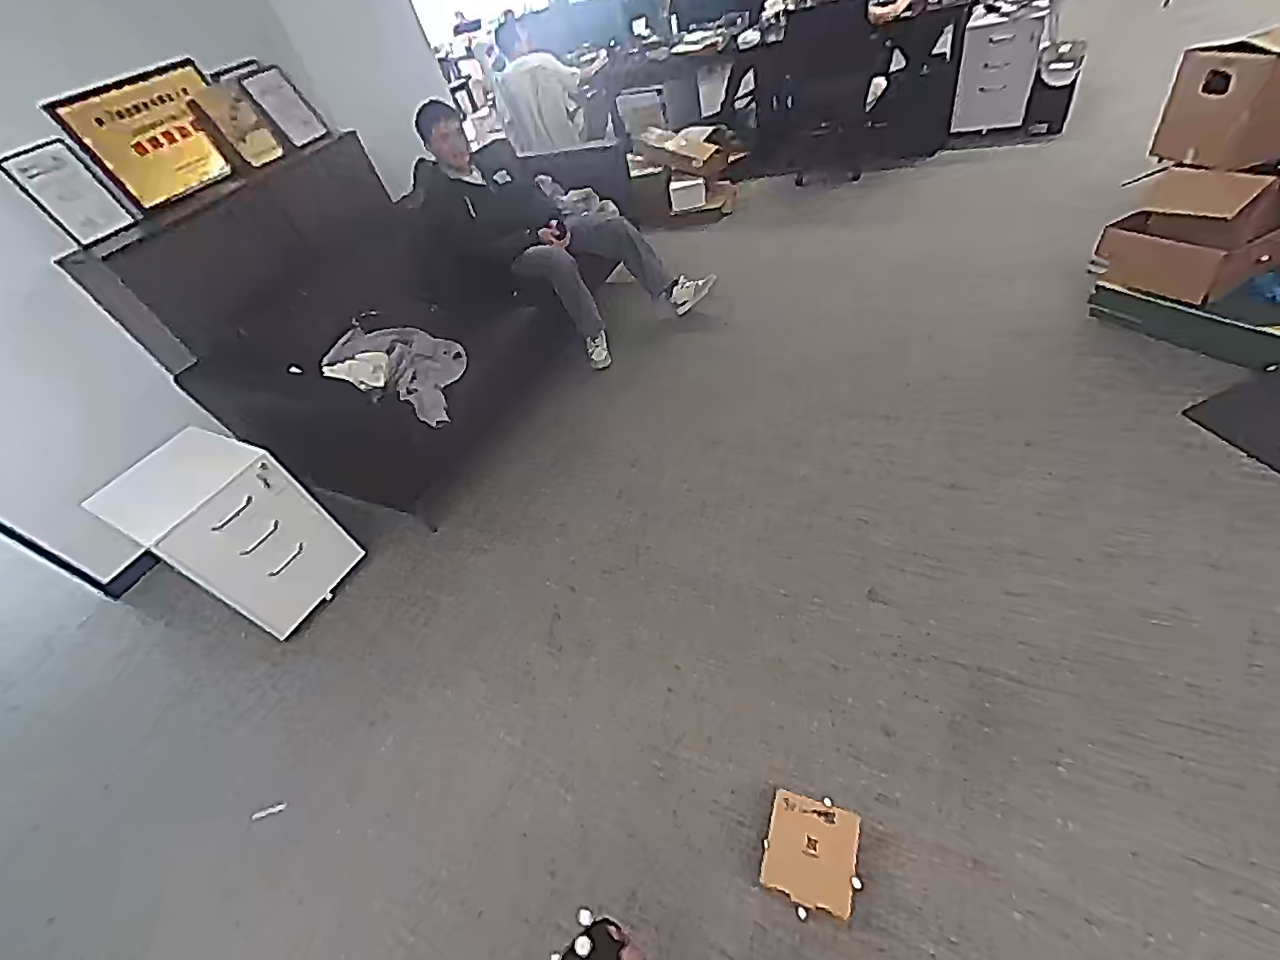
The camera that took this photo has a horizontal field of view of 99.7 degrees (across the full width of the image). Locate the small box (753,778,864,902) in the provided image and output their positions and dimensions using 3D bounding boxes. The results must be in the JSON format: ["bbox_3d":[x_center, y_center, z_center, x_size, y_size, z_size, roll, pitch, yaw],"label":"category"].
[{"bbox_3d":[0.349,0.751,1.122,0.179,0.176,0.168,-16,42,5],"label":"small box"}]
